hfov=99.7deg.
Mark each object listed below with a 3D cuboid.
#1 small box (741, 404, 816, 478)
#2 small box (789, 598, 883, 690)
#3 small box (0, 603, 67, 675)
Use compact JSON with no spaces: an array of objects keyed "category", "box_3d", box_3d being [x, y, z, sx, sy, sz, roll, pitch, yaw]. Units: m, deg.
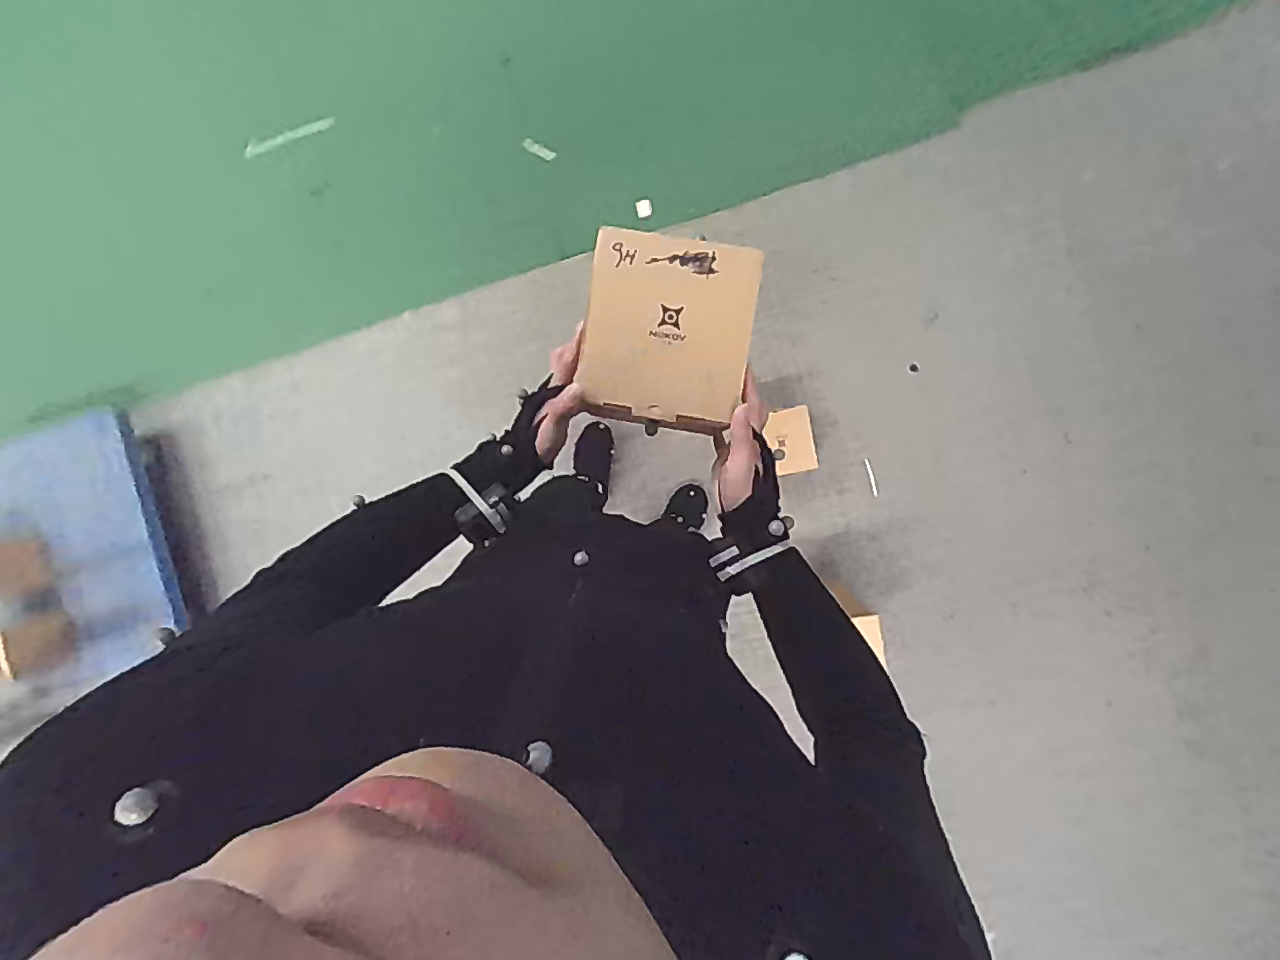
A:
[{"category":"small box","box_3d":[0.381,-0.106,1.514,0.168,0.176,0.179,-10,92,7]},{"category":"small box","box_3d":[0.486,0.405,1.361,0.179,0.176,0.168,-9,92,7]},{"category":"small box","box_3d":[-1.857,0.473,1.596,0.179,0.176,0.168,-12,91,7]}]
